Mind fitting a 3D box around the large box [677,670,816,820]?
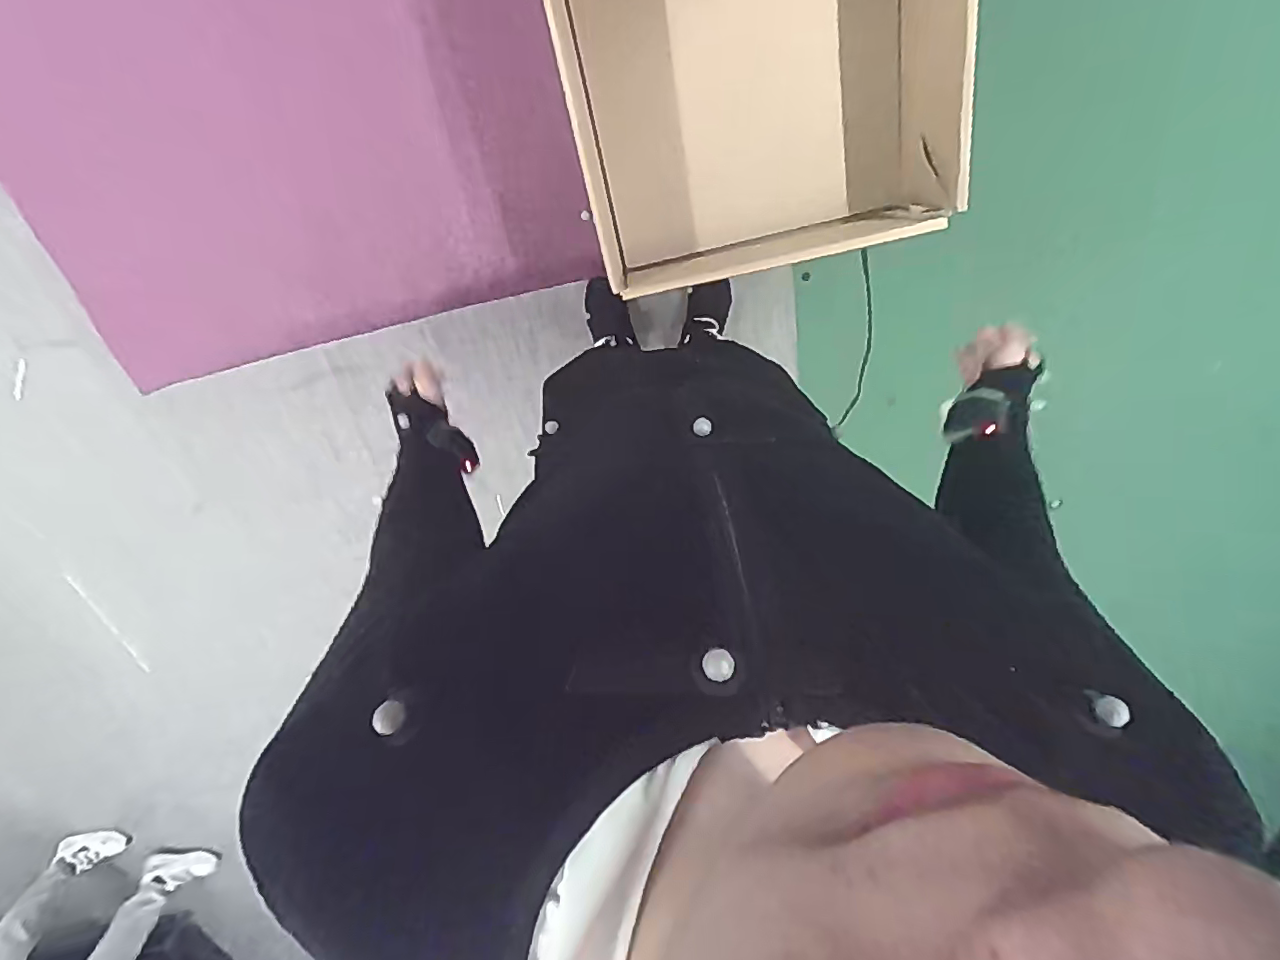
[{"bbox_3d":[0.401,1.037,2.126,0.408,0.320,0.320,-42,112,16],"label":"large box"}]
